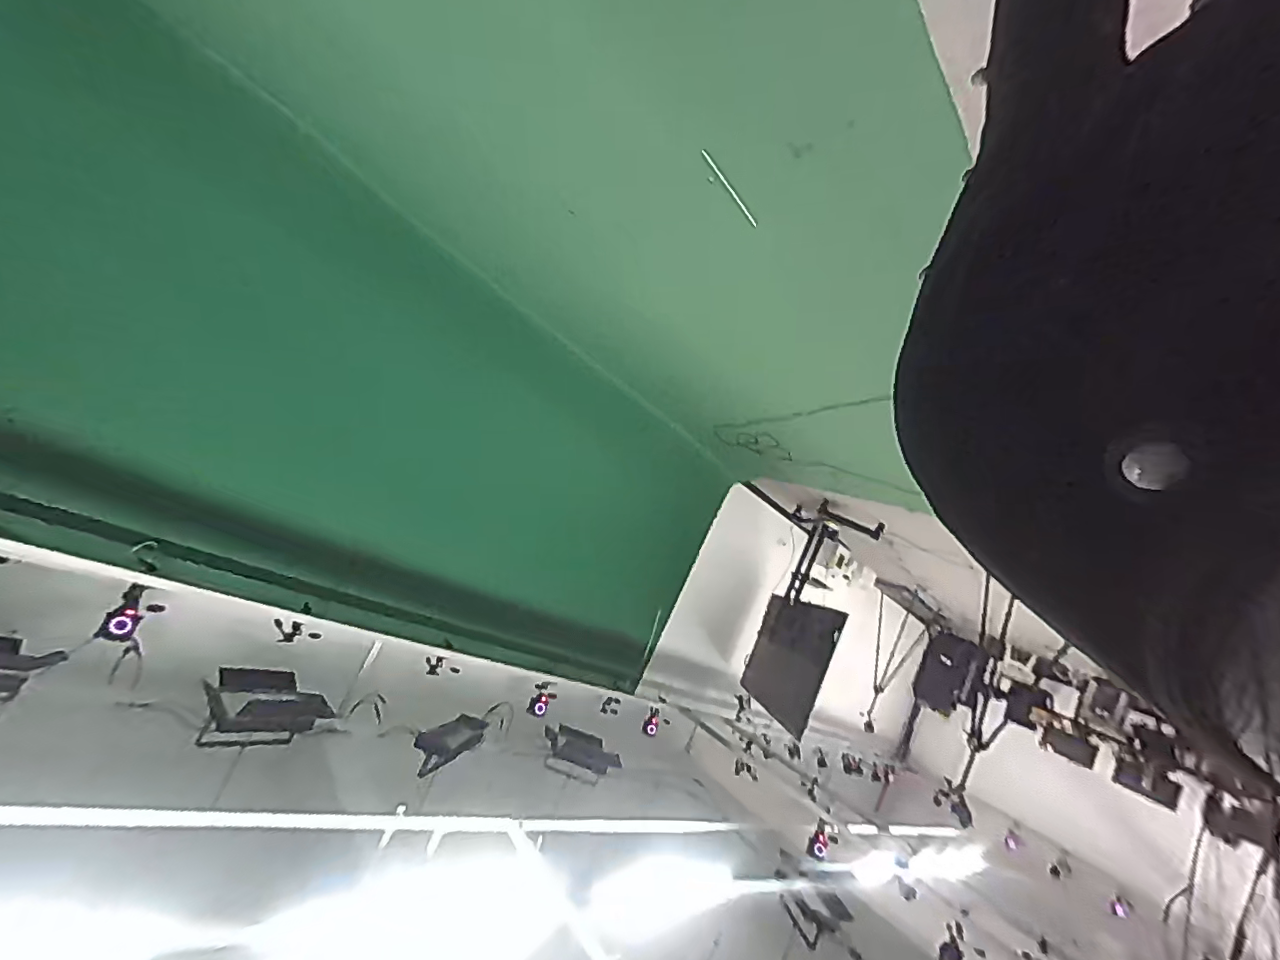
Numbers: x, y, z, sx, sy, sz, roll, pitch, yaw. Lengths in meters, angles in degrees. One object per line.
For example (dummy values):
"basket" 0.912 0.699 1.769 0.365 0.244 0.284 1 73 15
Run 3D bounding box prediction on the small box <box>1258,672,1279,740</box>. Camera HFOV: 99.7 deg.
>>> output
"small box" 1.785 0.620 1.422 0.168 0.176 0.179 32 170 -39
